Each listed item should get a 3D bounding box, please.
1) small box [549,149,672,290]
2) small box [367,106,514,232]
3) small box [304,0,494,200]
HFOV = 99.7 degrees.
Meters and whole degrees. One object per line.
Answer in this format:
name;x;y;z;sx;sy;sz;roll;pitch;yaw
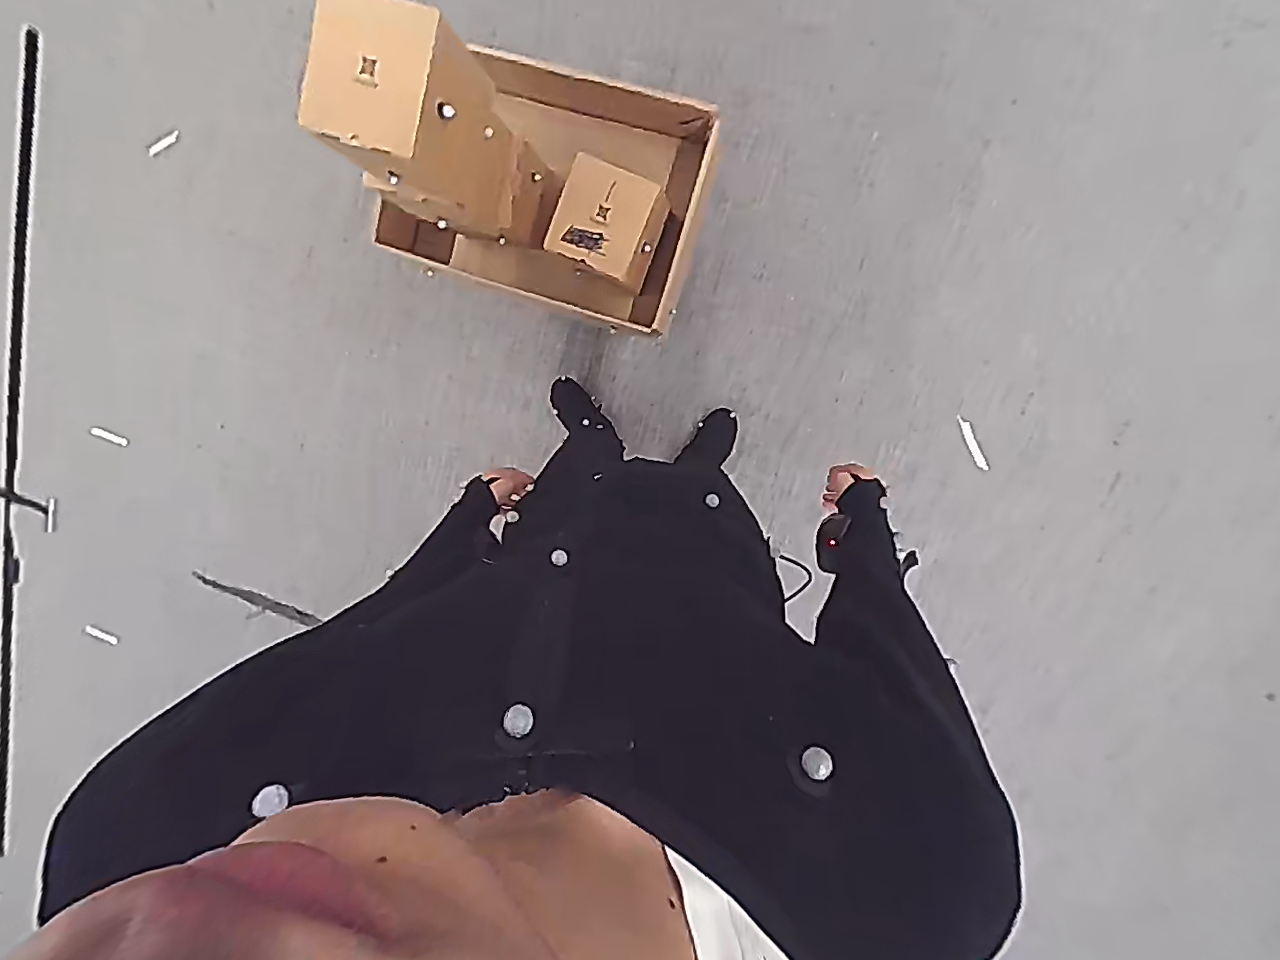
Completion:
small box;-0.047;-0.487;1.041;0.168;0.176;0.179;25;103;5
small box;-0.327;-0.546;0.915;0.168;0.176;0.179;15;102;6
small box;-0.321;-0.523;0.751;0.168;0.176;0.179;18;102;5
